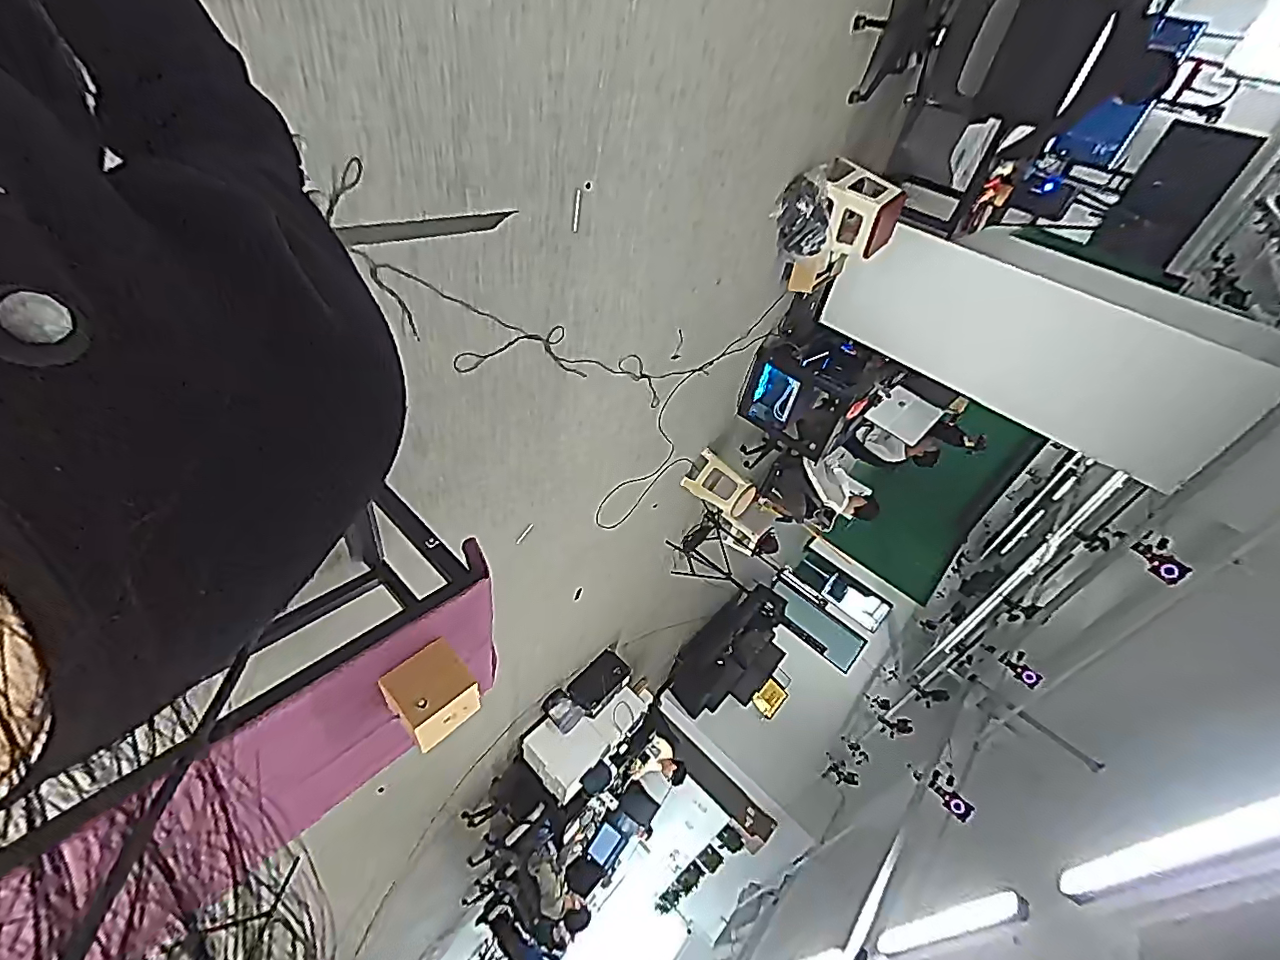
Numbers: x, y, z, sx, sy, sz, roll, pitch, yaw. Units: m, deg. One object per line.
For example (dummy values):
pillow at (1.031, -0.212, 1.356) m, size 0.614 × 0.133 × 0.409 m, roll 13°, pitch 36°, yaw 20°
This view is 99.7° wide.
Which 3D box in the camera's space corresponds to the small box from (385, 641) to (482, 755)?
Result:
small box at (-0.533, 0.555, 1.391) m, size 0.179 × 0.176 × 0.168 m, roll -33°, pitch 150°, yaw -37°
